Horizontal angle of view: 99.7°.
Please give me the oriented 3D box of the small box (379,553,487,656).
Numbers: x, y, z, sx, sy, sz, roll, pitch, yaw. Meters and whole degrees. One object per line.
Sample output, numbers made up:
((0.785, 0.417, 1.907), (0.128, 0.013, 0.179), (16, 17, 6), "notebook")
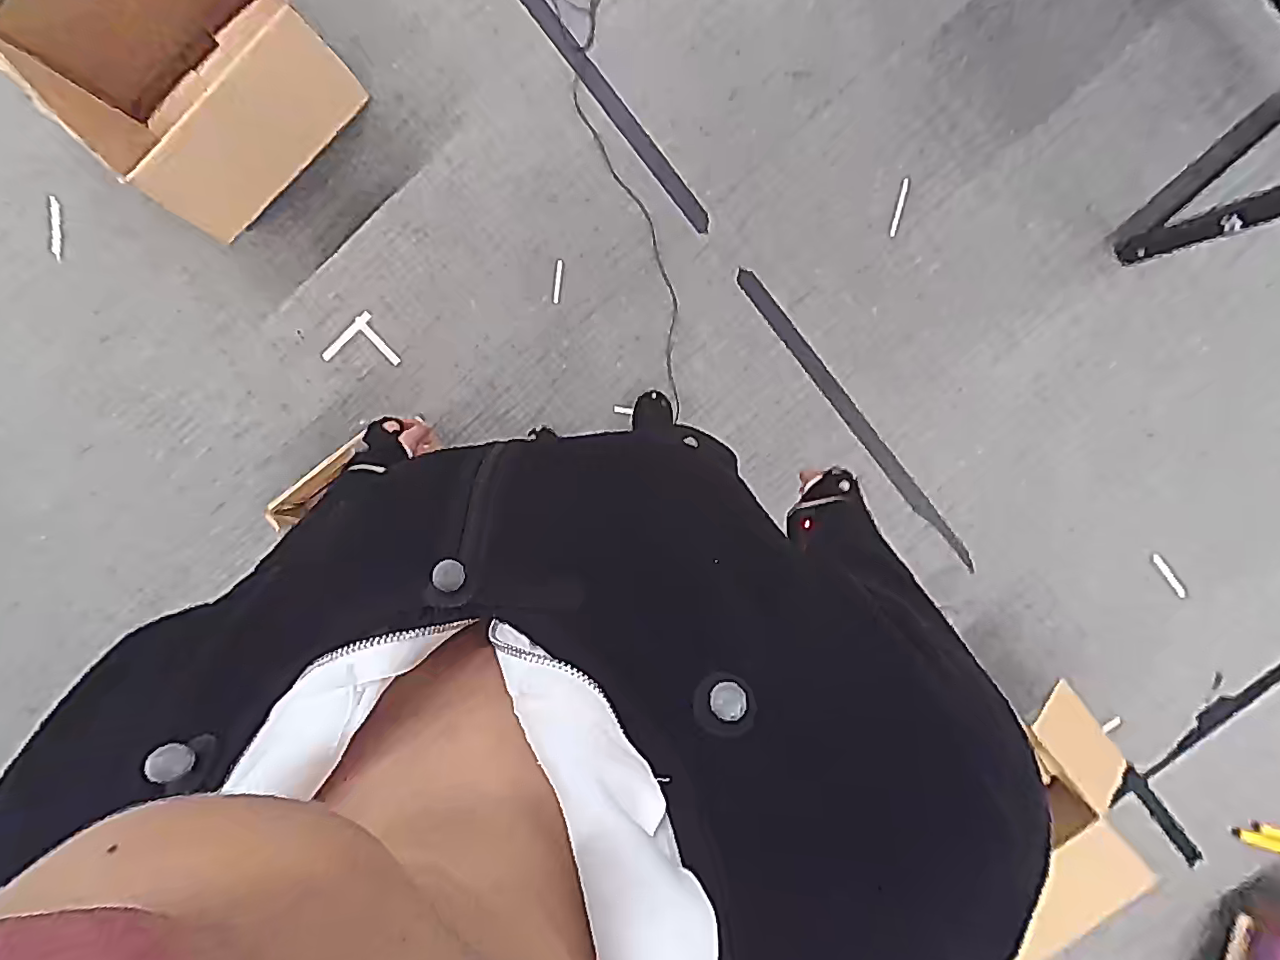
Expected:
((-0.525, 0.315, 1.405), (0.168, 0.176, 0.179), (-36, 94, 2), "small box")
